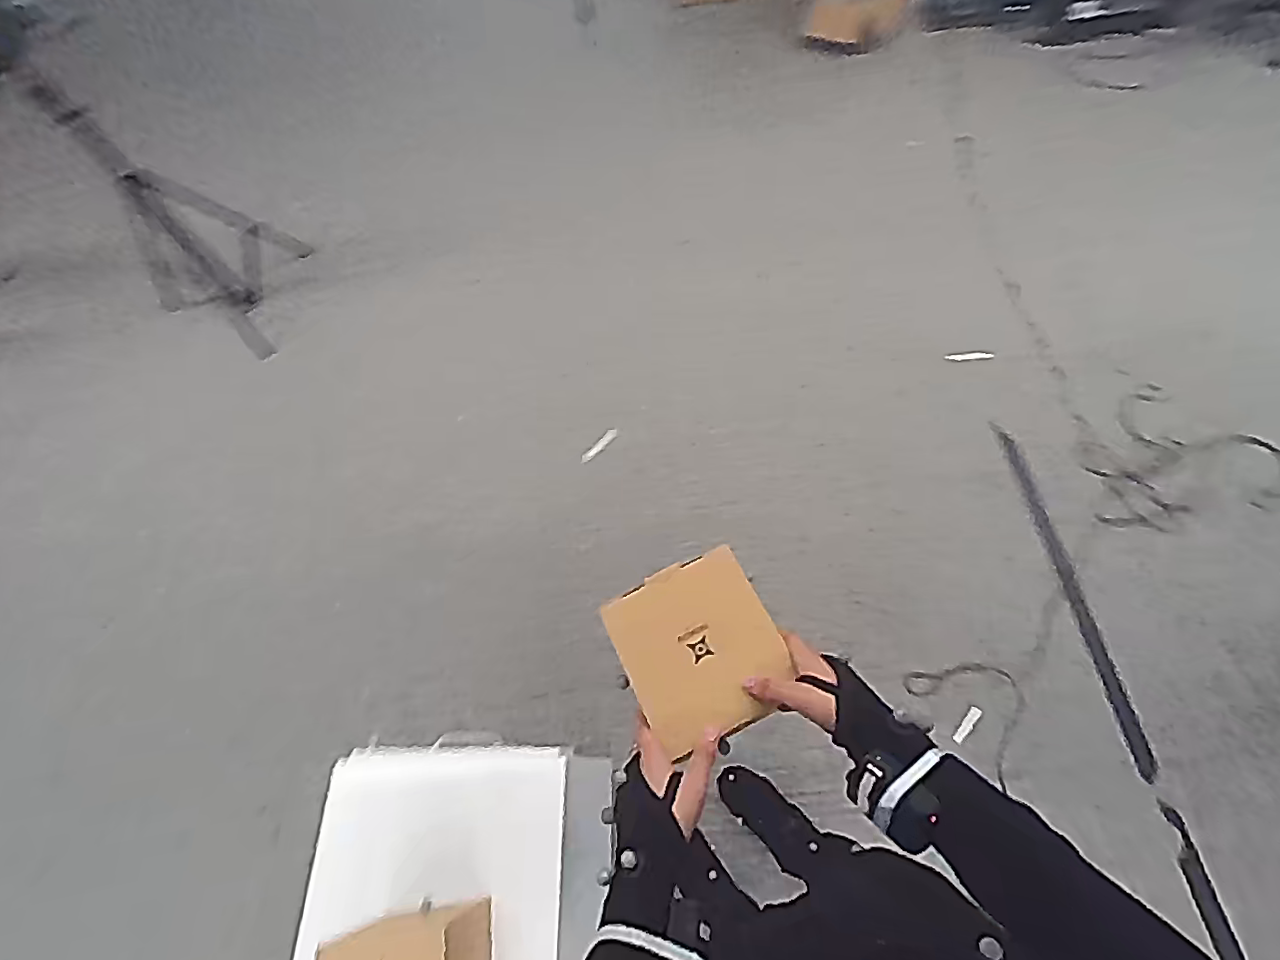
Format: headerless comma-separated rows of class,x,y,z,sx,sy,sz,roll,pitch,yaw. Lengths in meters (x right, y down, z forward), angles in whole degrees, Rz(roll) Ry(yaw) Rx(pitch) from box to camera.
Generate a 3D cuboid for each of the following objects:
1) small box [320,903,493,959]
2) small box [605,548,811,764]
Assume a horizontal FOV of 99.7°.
small box,-0.293,0.680,0.694,0.168,0.176,0.179,-11,61,0
small box,0.078,0.214,0.645,0.168,0.176,0.179,-25,60,-6
